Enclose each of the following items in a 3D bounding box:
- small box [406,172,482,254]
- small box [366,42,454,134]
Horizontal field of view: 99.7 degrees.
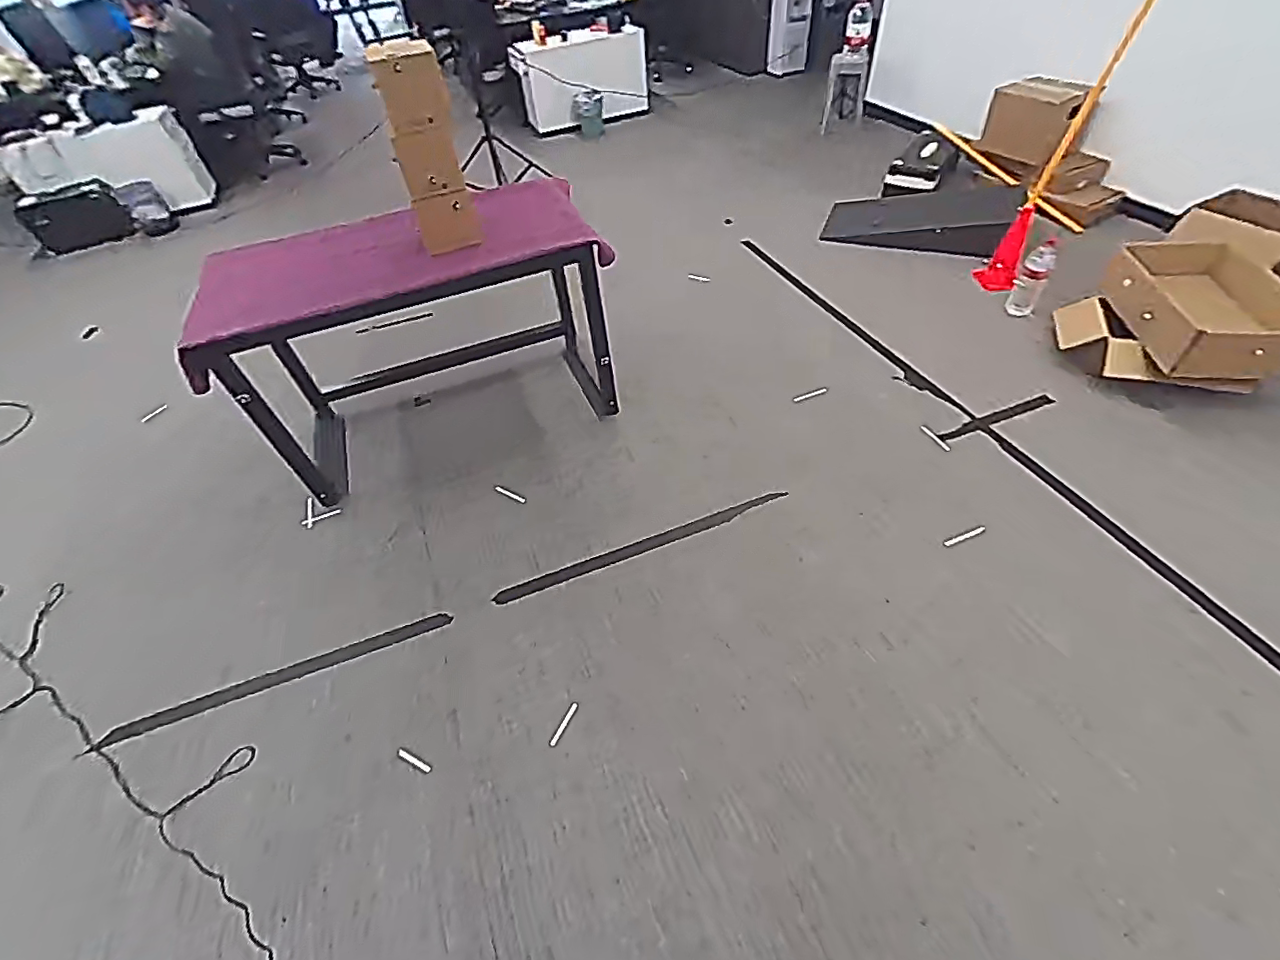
[{"bbox_3d":[-0.617,-0.848,1.719,0.179,0.176,0.168,-21,49,-11],"label":"small box"},{"bbox_3d":[-0.626,-1.070,1.478,0.168,0.176,0.179,-21,50,-12],"label":"small box"}]
